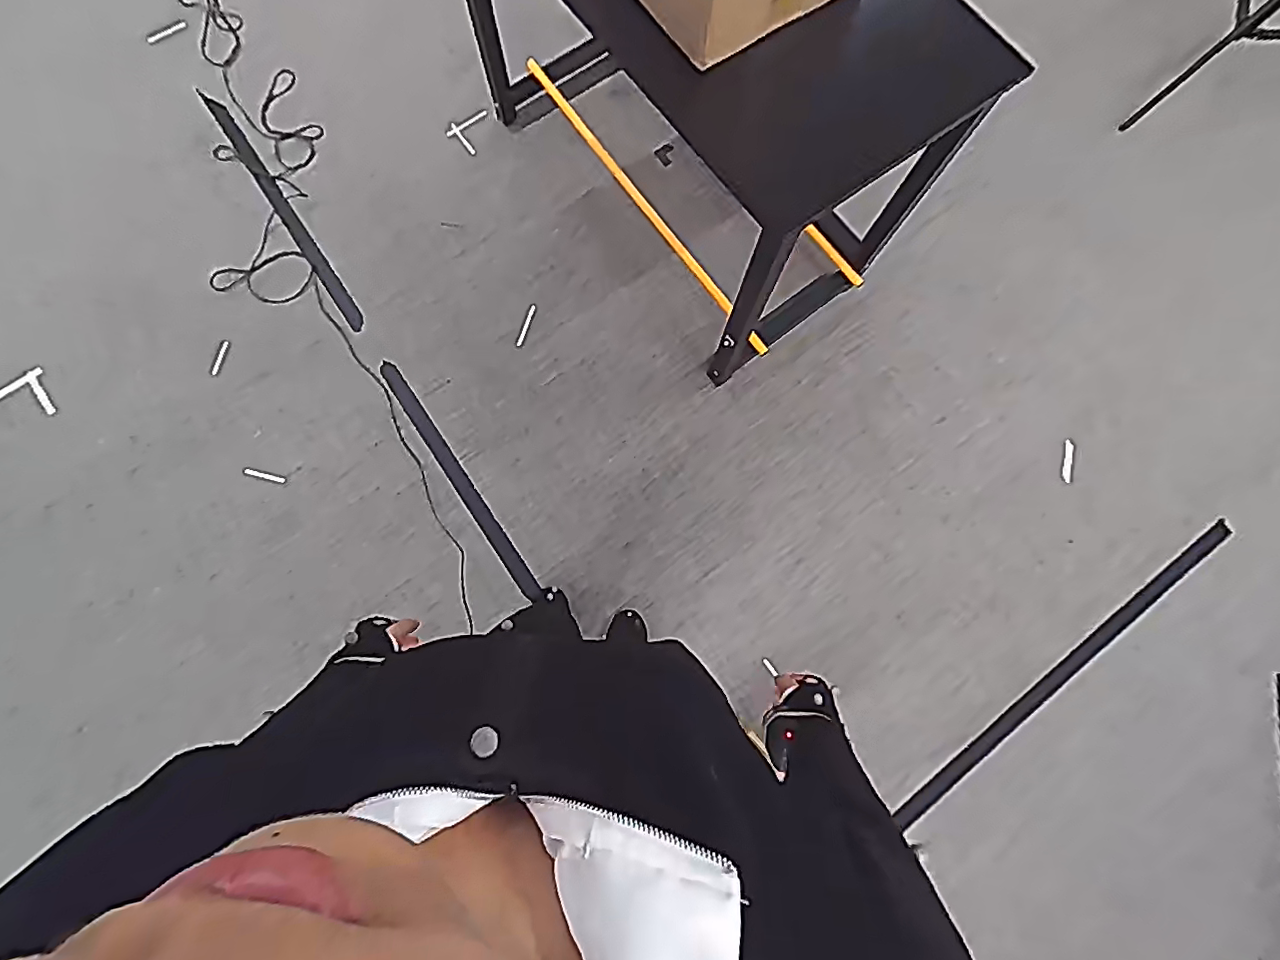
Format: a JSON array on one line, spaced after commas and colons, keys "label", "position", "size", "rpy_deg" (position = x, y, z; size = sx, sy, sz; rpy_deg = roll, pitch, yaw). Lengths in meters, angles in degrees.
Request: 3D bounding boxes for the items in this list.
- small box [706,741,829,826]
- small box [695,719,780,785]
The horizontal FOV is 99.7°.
[{"label": "small box", "position": [0.266, 0.703, 1.171], "size": [0.168, 0.176, 0.179], "rpy_deg": [-43, 83, -11]}, {"label": "small box", "position": [0.256, 0.724, 1.335], "size": [0.168, 0.176, 0.179], "rpy_deg": [-38, 81, -10]}]
